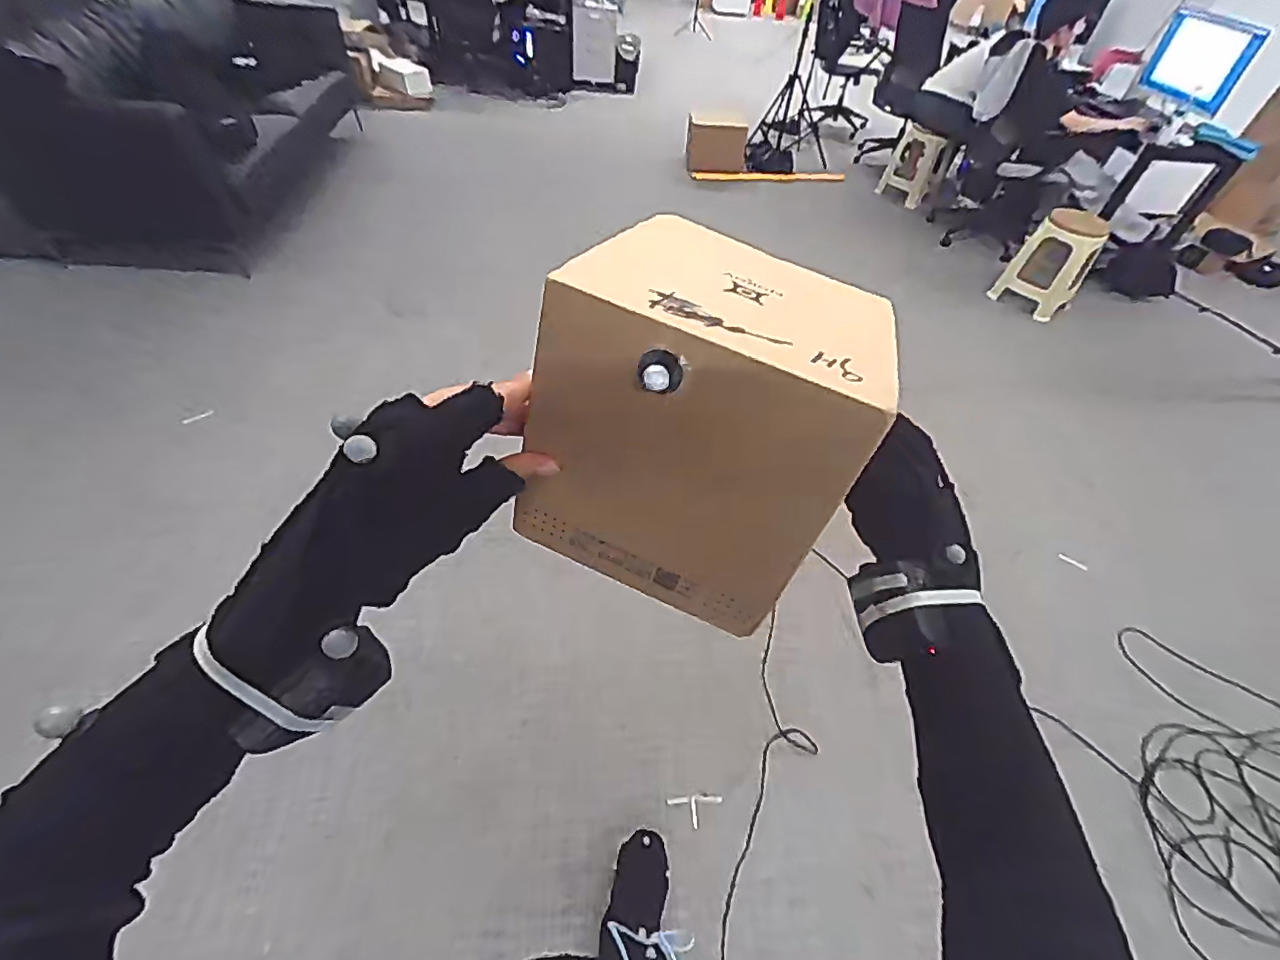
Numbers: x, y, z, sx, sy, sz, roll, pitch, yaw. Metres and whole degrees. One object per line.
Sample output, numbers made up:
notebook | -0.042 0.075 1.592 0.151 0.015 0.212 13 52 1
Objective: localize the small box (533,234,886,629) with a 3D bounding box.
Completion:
small box | 0.043 -0.040 0.362 0.168 0.176 0.179 24 38 8
